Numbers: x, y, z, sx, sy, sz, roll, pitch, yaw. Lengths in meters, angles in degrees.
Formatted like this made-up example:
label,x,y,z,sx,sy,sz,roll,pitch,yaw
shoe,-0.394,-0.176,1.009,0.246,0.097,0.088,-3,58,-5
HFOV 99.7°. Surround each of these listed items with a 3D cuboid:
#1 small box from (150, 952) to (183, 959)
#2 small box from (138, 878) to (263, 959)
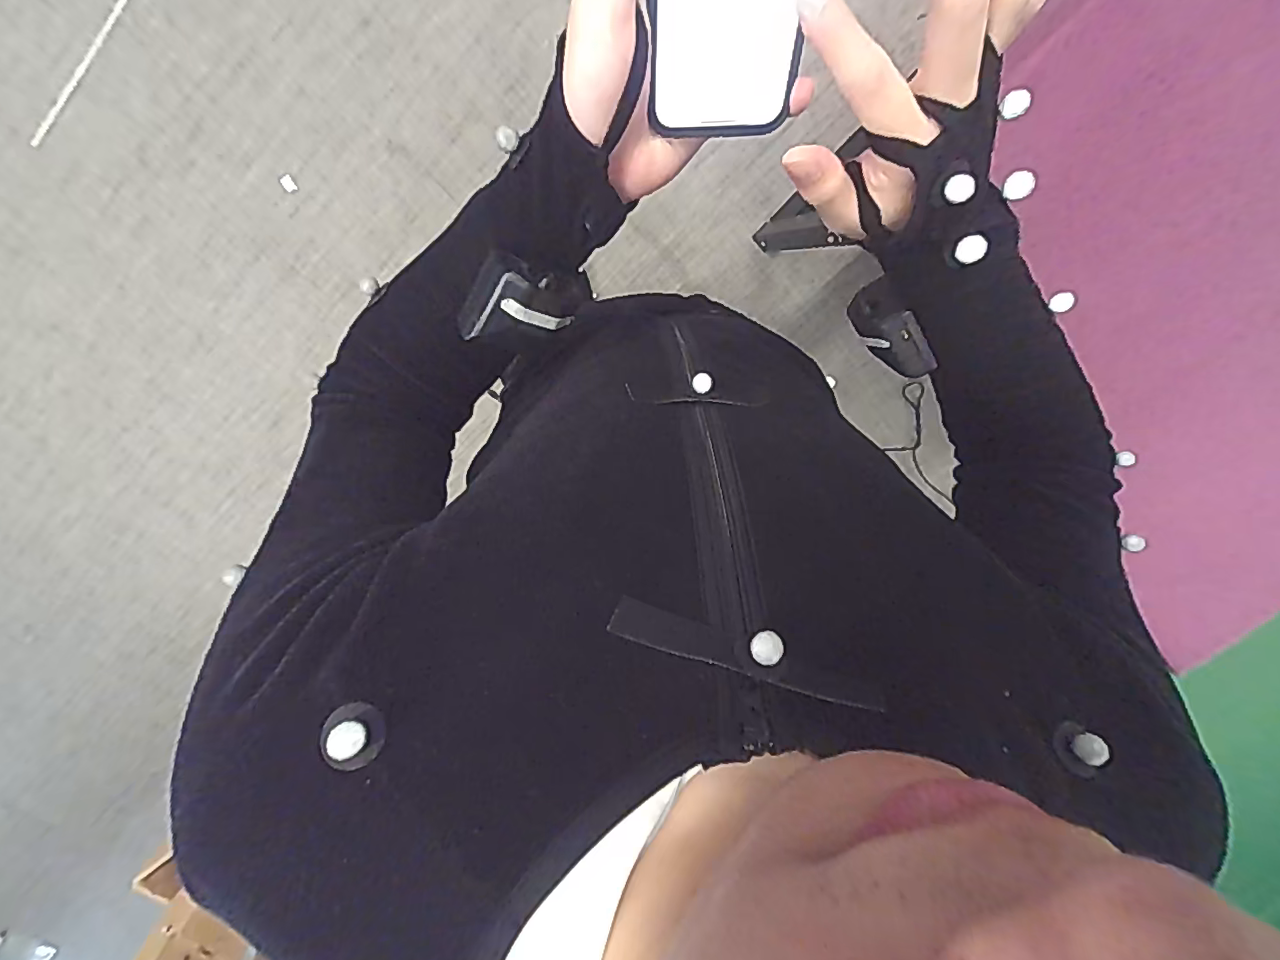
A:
label,x,y,z,sx,sy,sz,roll,pitch,yaw
small box,-1.058,1.164,1.146,0.179,0.176,0.168,-36,109,9
small box,-1.058,1.111,1.302,0.179,0.176,0.168,-36,109,9
